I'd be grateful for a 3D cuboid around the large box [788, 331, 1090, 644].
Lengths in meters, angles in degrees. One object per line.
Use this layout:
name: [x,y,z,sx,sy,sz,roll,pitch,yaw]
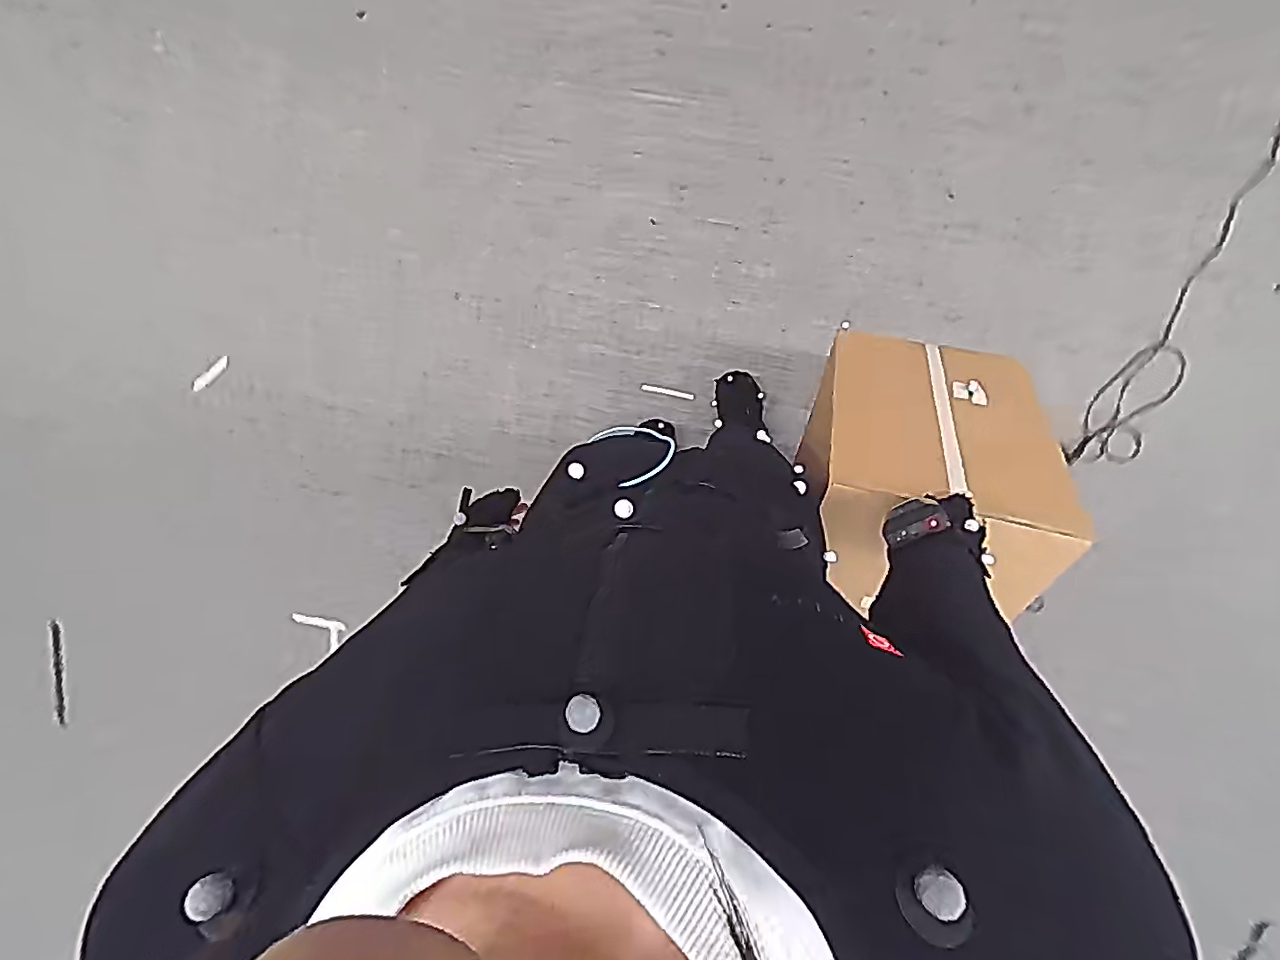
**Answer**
large box: [0.446,0.002,0.919,0.320,0.408,0.320,13,136,8]
